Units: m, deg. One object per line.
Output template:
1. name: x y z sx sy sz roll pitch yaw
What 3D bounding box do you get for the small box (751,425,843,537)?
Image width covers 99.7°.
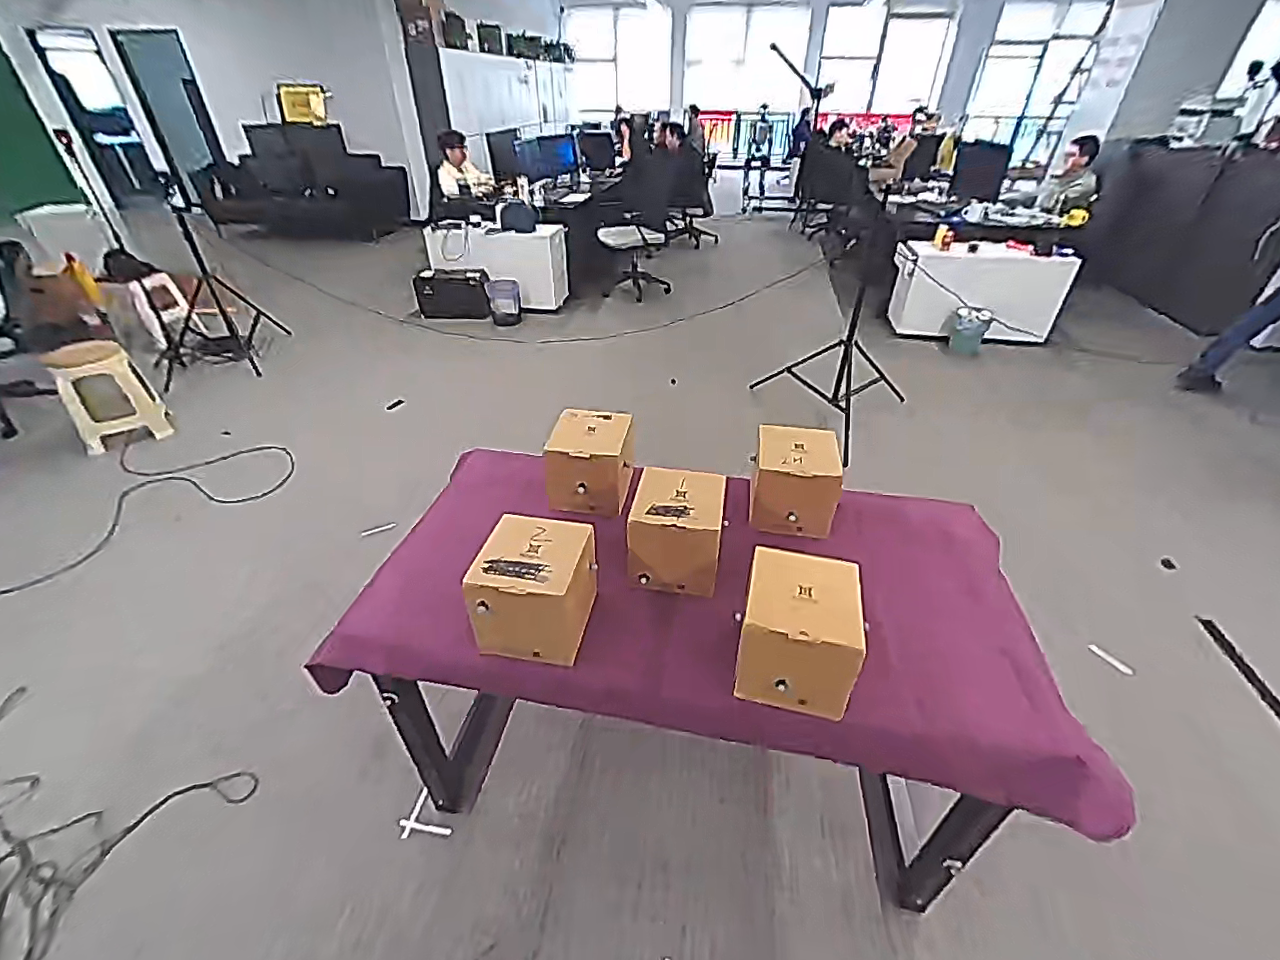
1. small box: 0.335 -0.001 1.187 0.168 0.176 0.179 5 37 9

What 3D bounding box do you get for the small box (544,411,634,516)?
1. small box: -0.108 -0.038 1.240 0.168 0.176 0.179 6 39 7

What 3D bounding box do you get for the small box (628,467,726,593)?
1. small box: 0.076 0.098 1.056 0.168 0.176 0.179 6 36 9

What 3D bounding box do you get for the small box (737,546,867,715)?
1. small box: 0.251 0.236 0.863 0.168 0.176 0.179 9 36 12
